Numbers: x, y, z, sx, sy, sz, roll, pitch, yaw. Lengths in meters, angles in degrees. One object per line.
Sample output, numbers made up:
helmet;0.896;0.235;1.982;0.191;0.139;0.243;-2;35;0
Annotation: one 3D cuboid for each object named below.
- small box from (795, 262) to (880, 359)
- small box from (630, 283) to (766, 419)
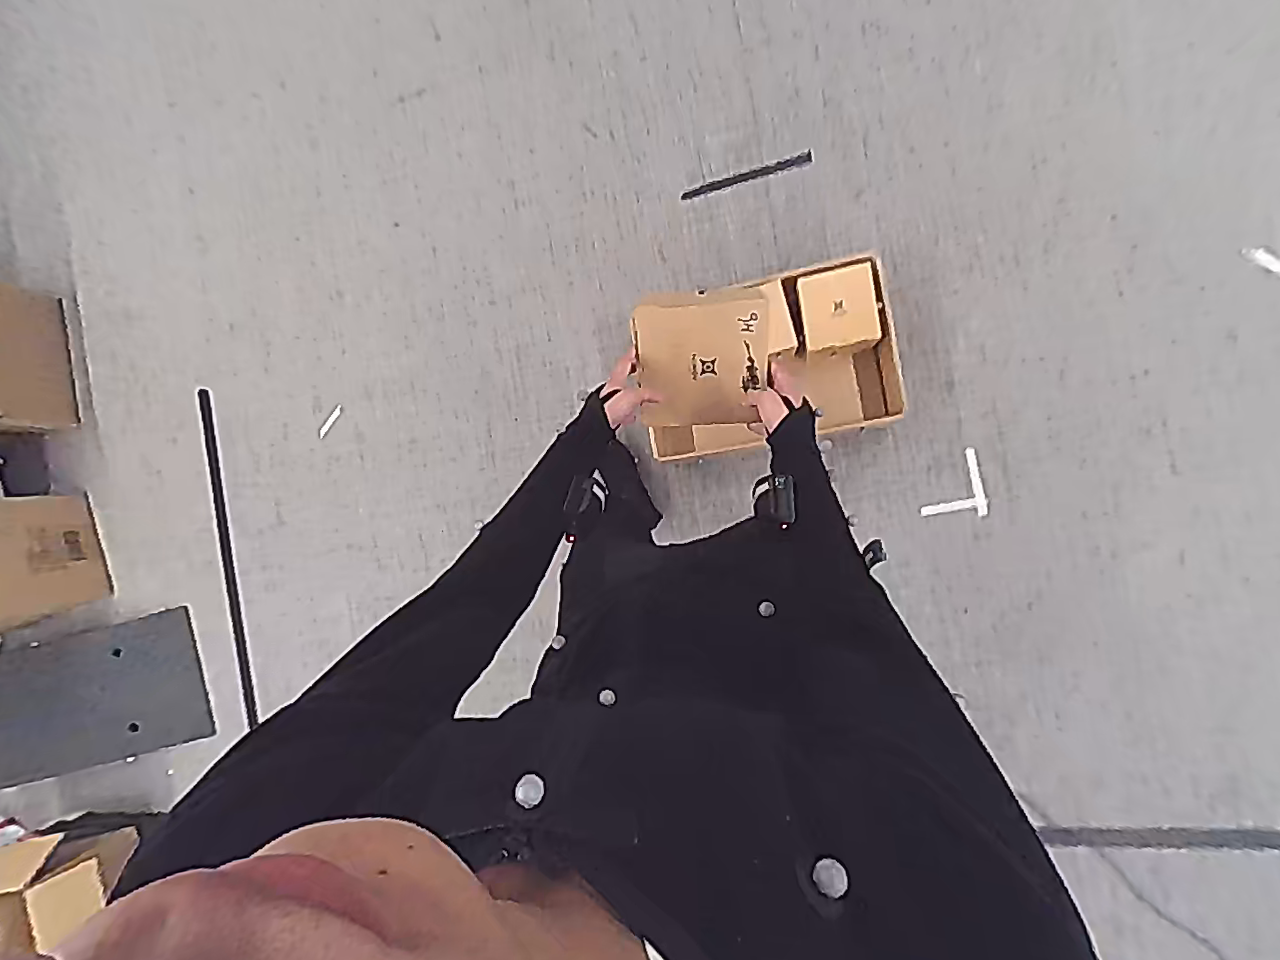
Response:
small box;0.481;-0.410;1.336;0.168;0.176;0.179;-9;92;15
small box;0.089;-0.192;0.790;0.179;0.176;0.168;-1;115;9
